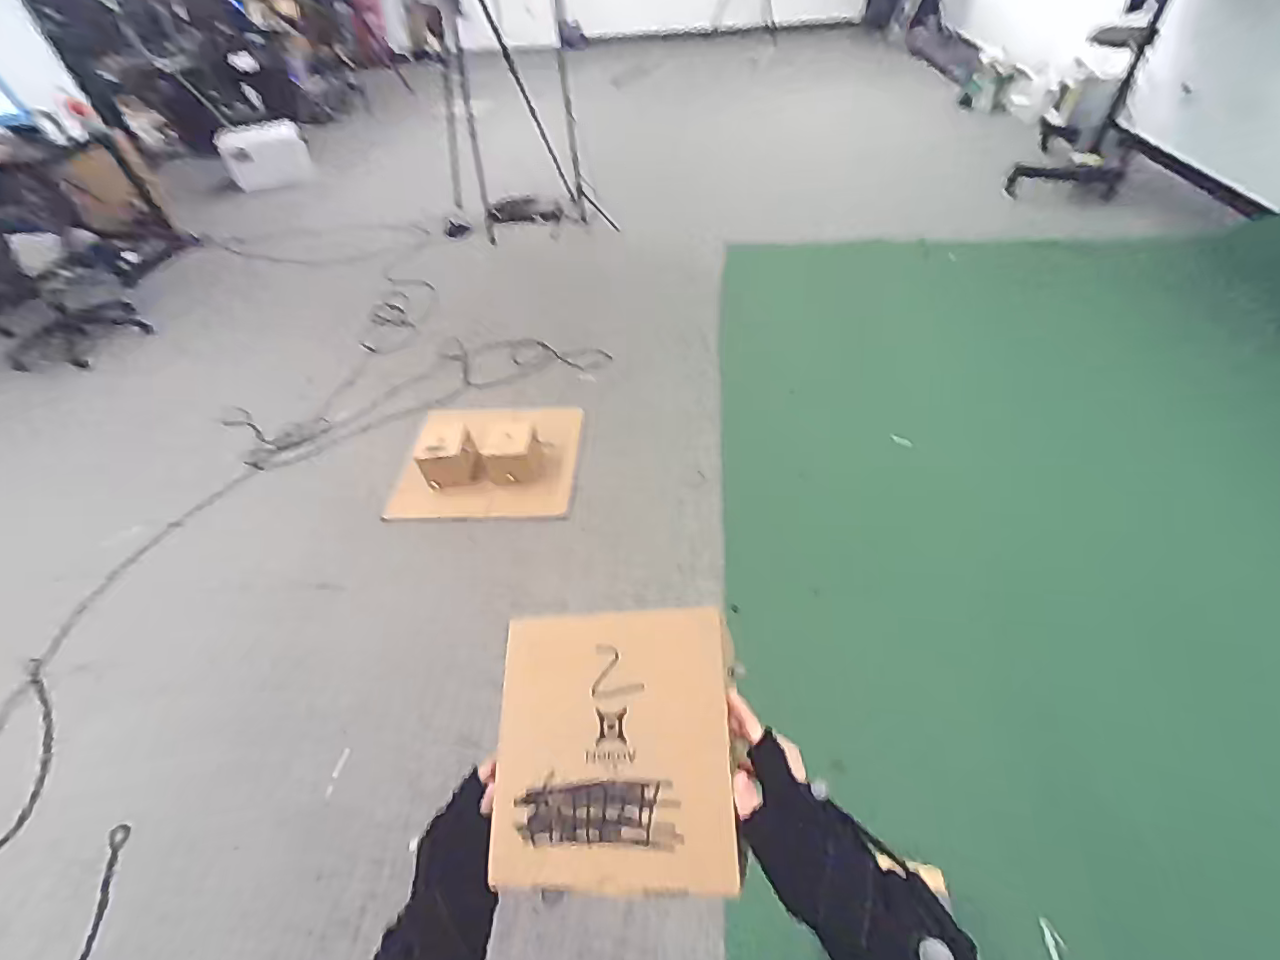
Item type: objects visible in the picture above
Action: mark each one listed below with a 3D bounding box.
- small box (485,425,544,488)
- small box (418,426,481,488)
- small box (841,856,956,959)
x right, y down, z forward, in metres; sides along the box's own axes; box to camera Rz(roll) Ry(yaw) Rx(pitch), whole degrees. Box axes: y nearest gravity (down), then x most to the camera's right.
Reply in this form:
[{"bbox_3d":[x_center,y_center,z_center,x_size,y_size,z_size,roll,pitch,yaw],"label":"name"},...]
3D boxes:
[{"bbox_3d":[-0.466,-0.089,2.046,0.168,0.176,0.179,-2,47,6],"label":"small box"},{"bbox_3d":[-0.718,-0.081,2.058,0.168,0.176,0.179,-5,46,2],"label":"small box"},{"bbox_3d":[0.499,0.877,1.065,0.168,0.176,0.179,7,48,11],"label":"small box"}]
